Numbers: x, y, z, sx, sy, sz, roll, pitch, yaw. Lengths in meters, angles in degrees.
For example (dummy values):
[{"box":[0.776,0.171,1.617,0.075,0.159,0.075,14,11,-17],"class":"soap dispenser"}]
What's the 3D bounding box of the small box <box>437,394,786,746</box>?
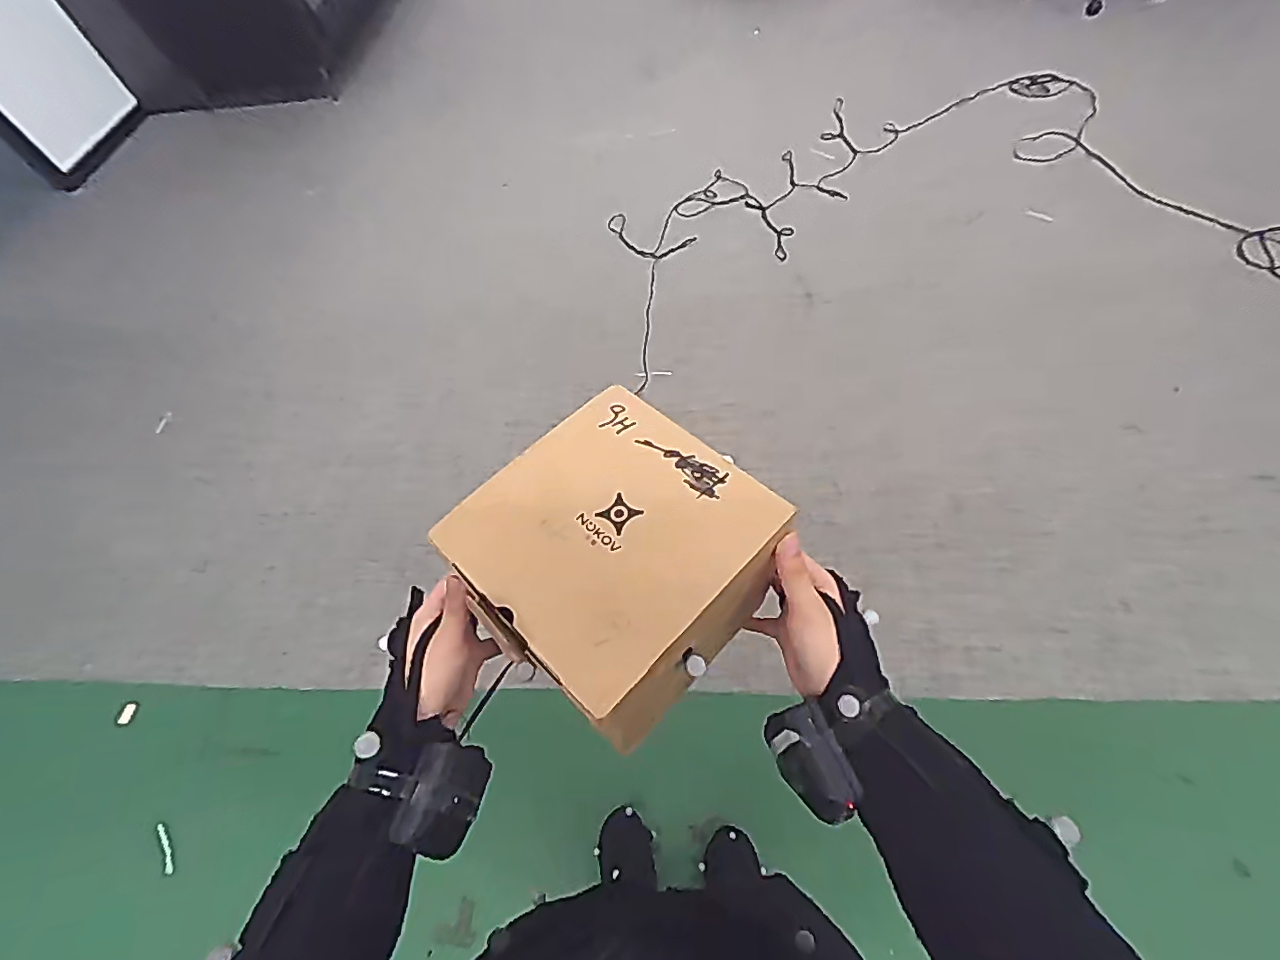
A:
[{"box":[-0.013,0.075,0.419,0.168,0.176,0.179,38,68,25],"class":"small box"}]
